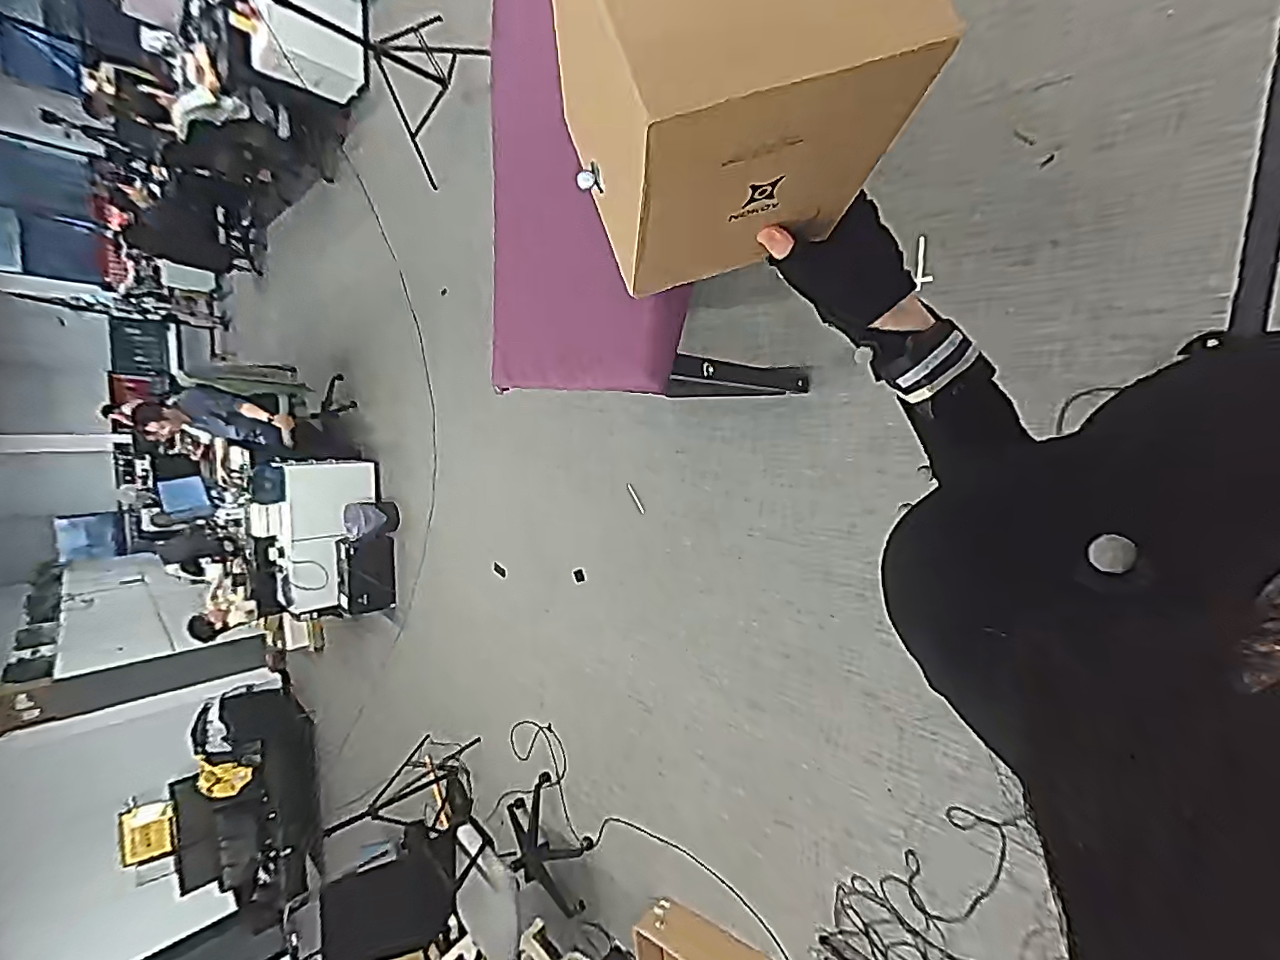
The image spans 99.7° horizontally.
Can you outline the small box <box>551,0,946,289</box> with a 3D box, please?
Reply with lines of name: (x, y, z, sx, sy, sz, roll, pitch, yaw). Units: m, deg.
small box: (0.046, -0.261, 0.349, 0.179, 0.168, 0.176, 95, 155, -82)
